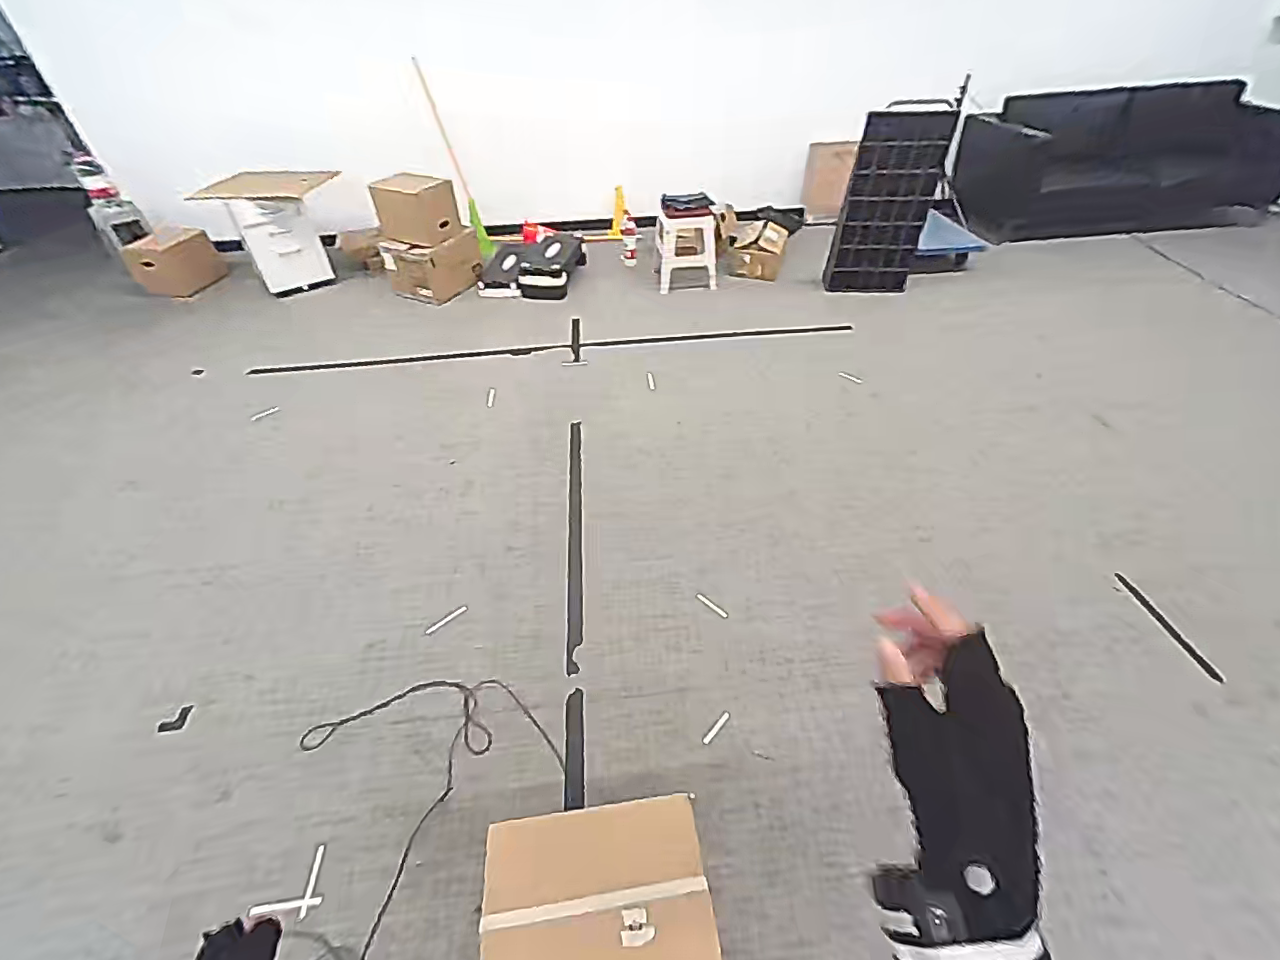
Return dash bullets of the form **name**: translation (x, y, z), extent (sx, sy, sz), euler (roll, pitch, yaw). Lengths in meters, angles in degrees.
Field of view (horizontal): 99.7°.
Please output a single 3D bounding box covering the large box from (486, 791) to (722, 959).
- **large box**: translation (-0.074, 0.872, 1.072), extent (0.408, 0.320, 0.320), euler (-5, 41, -6)
